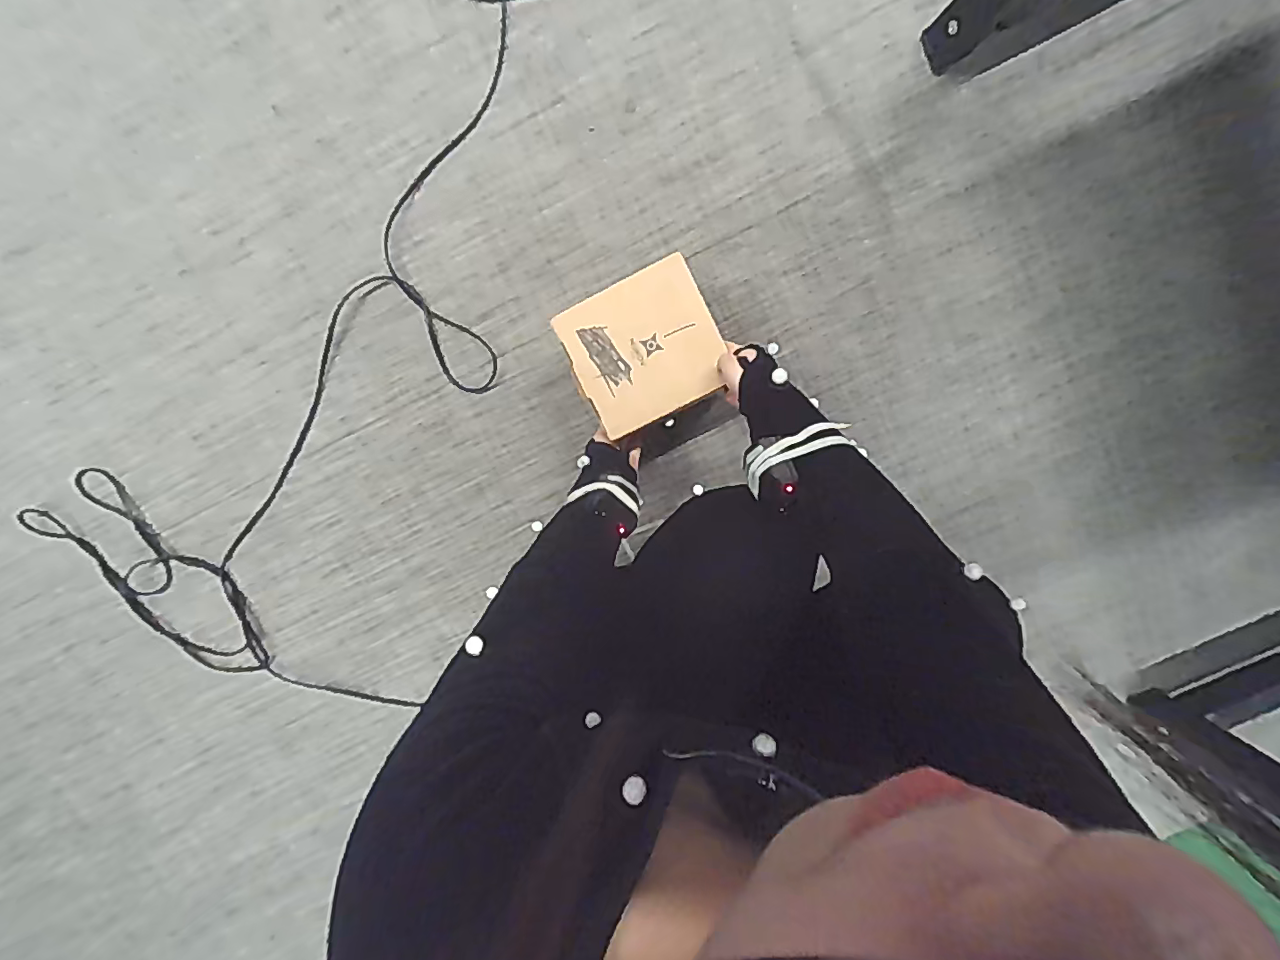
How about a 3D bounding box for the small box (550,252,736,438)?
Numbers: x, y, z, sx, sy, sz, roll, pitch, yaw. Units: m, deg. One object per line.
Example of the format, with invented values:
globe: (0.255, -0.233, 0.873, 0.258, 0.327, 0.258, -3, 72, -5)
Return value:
small box: (0.007, -0.165, 0.722, 0.179, 0.176, 0.168, -27, 95, 4)
